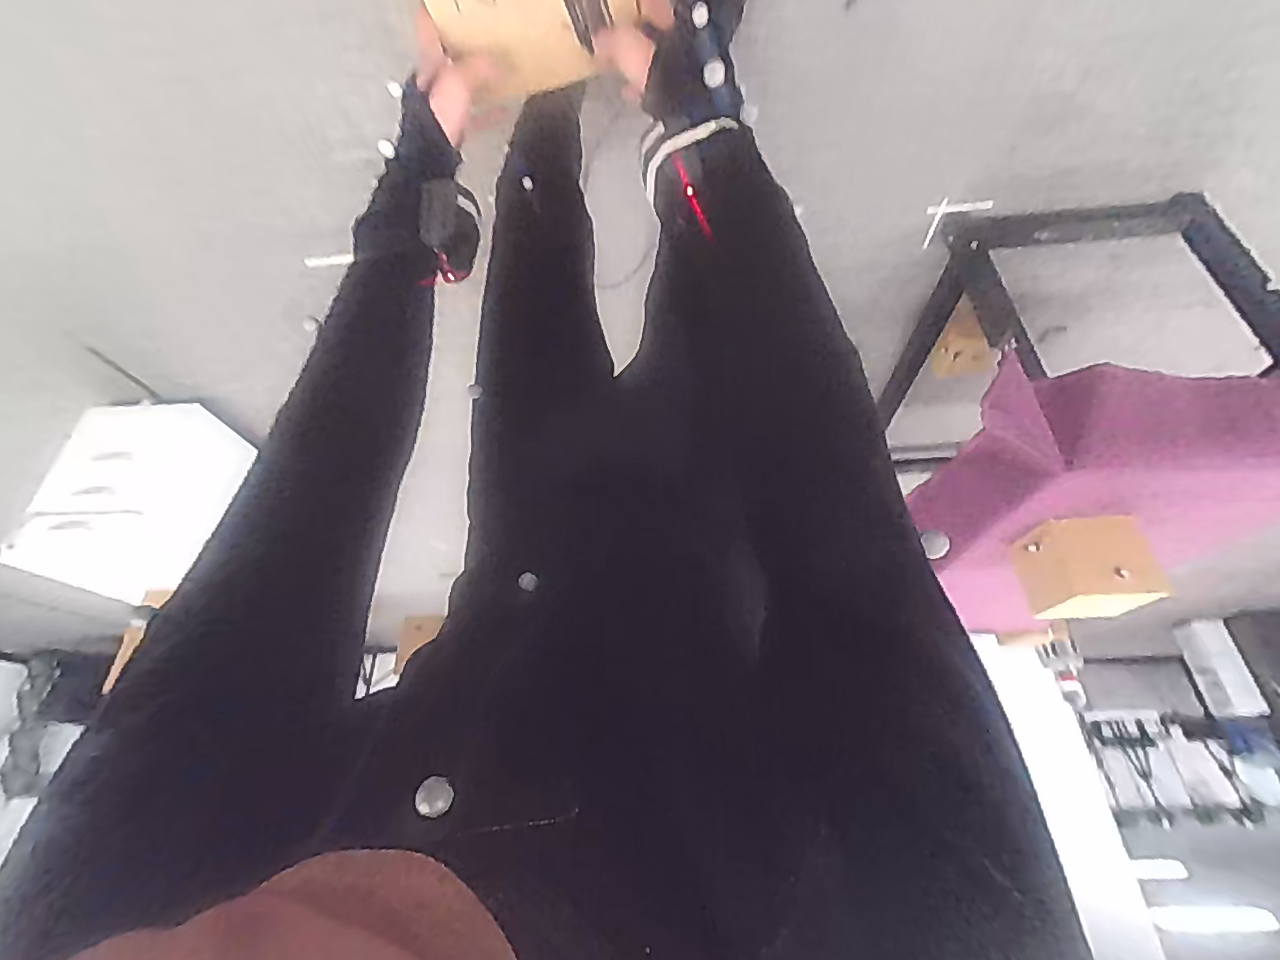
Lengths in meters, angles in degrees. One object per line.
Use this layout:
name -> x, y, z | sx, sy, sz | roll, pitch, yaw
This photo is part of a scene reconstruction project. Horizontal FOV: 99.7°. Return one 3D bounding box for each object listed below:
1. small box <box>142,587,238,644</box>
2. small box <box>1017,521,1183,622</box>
small box -> -1.591, 0.484, 1.923 | 0.179, 0.176, 0.168 | -2, 152, 4
small box -> 0.937, 0.190, 1.123 | 0.179, 0.176, 0.168 | -2, 151, 4
